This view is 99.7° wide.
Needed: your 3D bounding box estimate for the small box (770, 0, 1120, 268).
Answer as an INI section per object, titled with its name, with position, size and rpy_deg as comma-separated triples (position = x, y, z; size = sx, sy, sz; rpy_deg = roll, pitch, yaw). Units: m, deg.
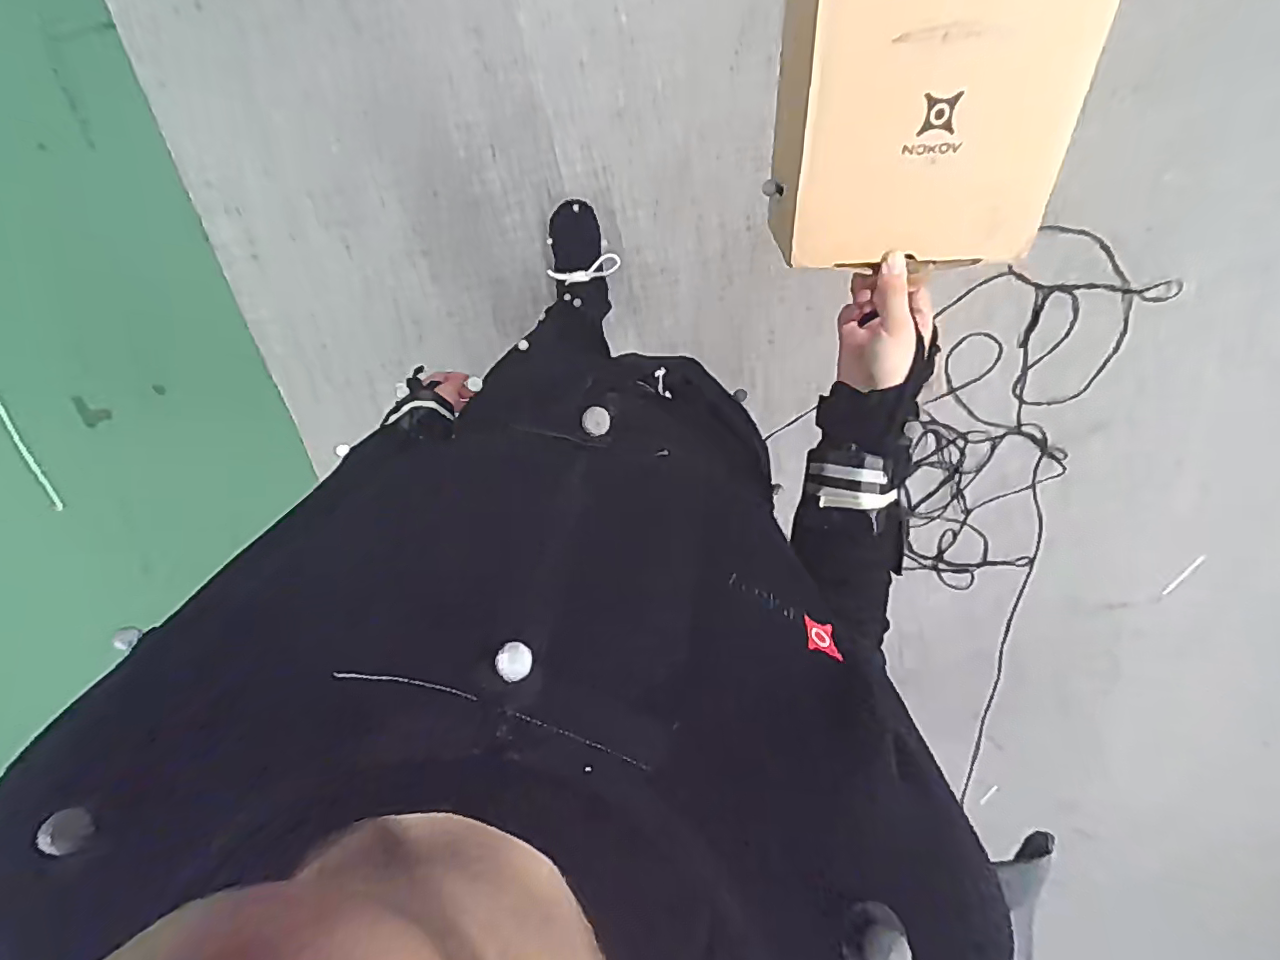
[small box]
position = 0.194, -0.271, 0.403
size = 0.168, 0.176, 0.179
rpy_deg = 0, 125, 5
